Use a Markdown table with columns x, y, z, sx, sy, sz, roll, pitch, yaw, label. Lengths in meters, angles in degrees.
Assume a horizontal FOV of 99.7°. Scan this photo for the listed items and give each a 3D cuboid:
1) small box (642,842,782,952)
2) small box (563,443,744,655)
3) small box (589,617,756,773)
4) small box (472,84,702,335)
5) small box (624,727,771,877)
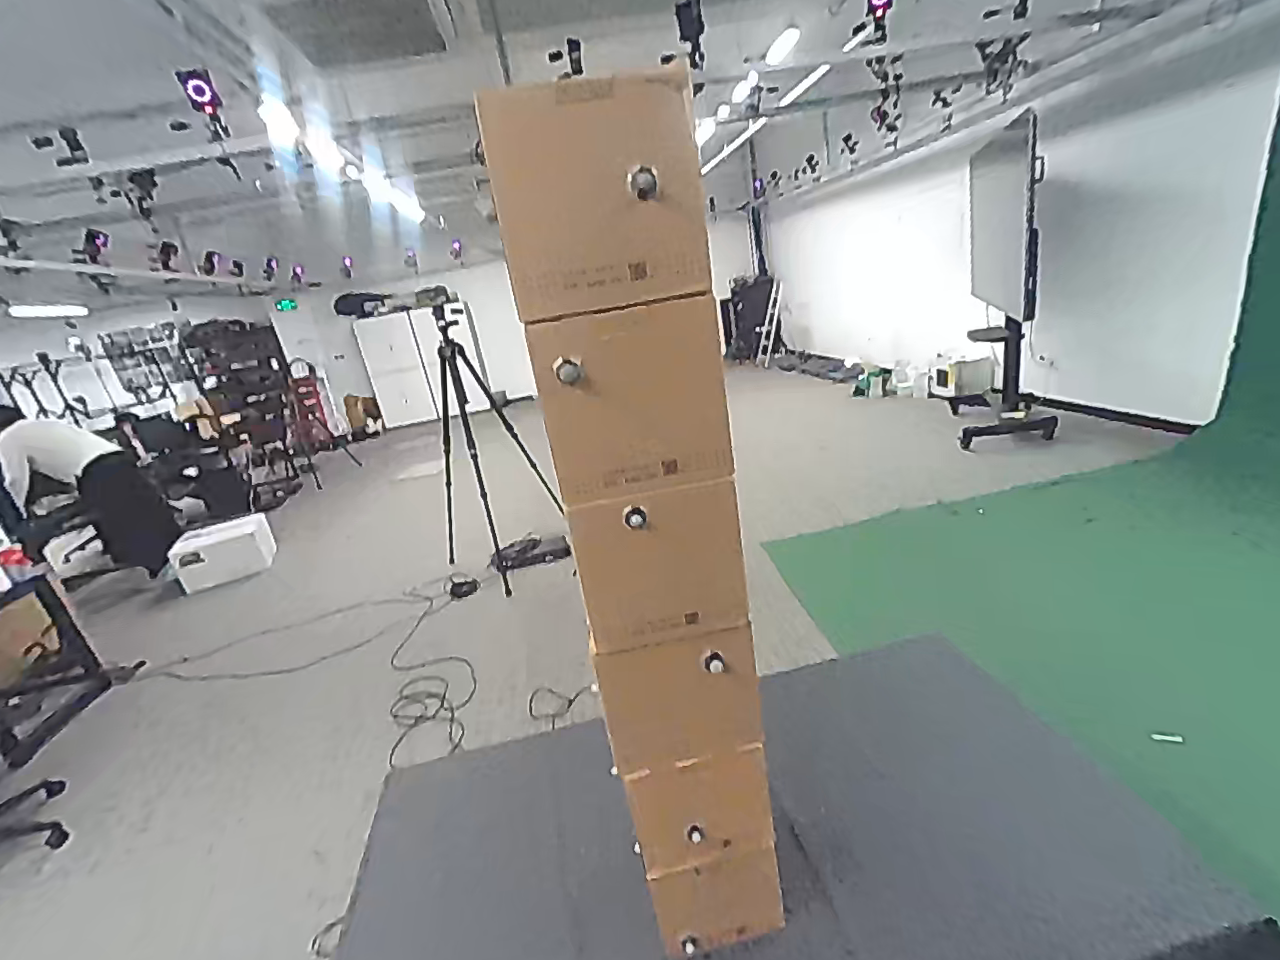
| x | y | z | sx | sy | sz | roll | pitch | yaw | label |
| --- | --- | --- | --- | --- | --- | --- | --- | --- | --- |
| 0.093 | 0.526 | 0.778 | 0.168 | 0.176 | 0.179 | -13 | 18 | -5 | small box |
| 0.012 | 0.070 | 0.619 | 0.168 | 0.176 | 0.179 | -11 | 19 | -2 | small box |
| 0.037 | 0.223 | 0.671 | 0.179 | 0.176 | 0.168 | -12 | 19 | -3 | small box |
| -0.042 | -0.237 | 0.515 | 0.168 | 0.176 | 0.179 | -10 | 19 | -2 | small box |
| 0.064 | 0.376 | 0.726 | 0.168 | 0.176 | 0.179 | -12 | 19 | -5 | small box |
